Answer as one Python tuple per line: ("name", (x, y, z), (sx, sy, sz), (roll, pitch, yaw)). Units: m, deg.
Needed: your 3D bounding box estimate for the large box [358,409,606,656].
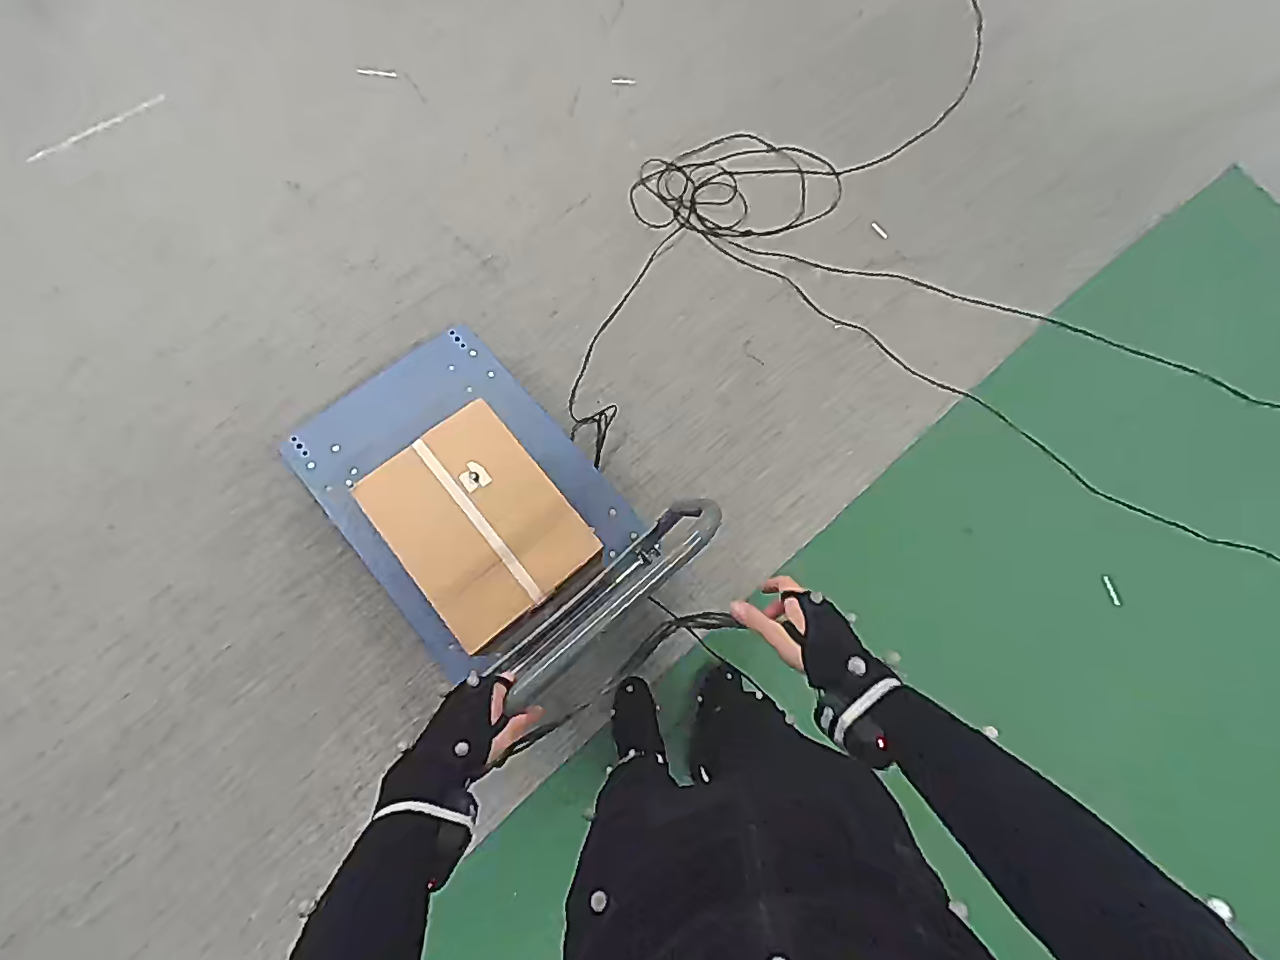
("large box", (-0.316, 0.129, 1.194), (0.320, 0.320, 0.408), (-38, 78, -14))
